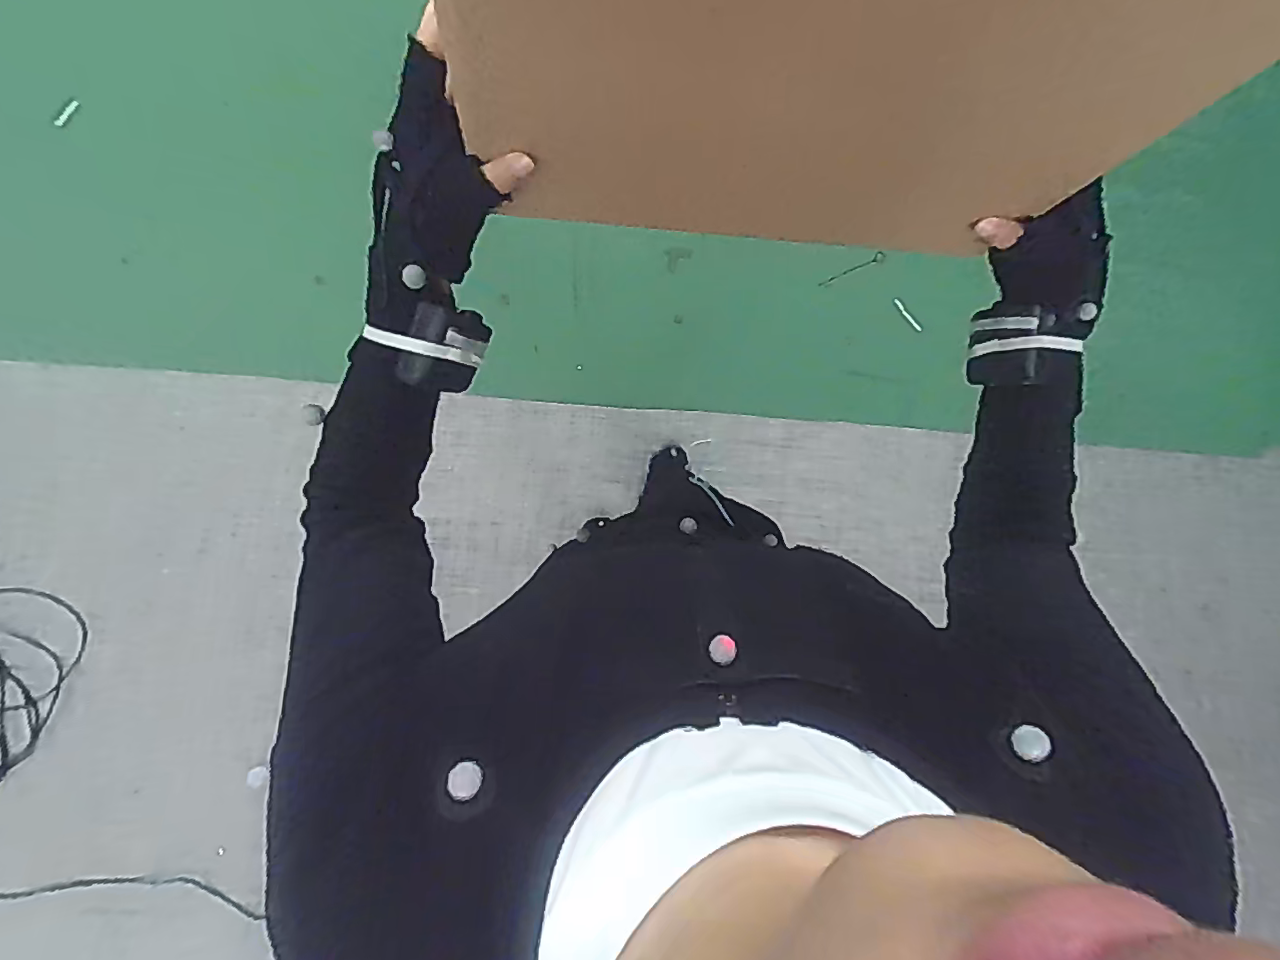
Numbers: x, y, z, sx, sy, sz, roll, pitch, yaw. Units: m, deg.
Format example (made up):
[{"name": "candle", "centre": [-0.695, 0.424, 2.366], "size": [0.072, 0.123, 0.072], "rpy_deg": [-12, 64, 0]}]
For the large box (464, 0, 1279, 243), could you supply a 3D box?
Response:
[{"name": "large box", "centre": [0.110, -0.360, 0.290], "size": [0.408, 0.320, 0.320], "rpy_deg": [0, 84, -11]}]
